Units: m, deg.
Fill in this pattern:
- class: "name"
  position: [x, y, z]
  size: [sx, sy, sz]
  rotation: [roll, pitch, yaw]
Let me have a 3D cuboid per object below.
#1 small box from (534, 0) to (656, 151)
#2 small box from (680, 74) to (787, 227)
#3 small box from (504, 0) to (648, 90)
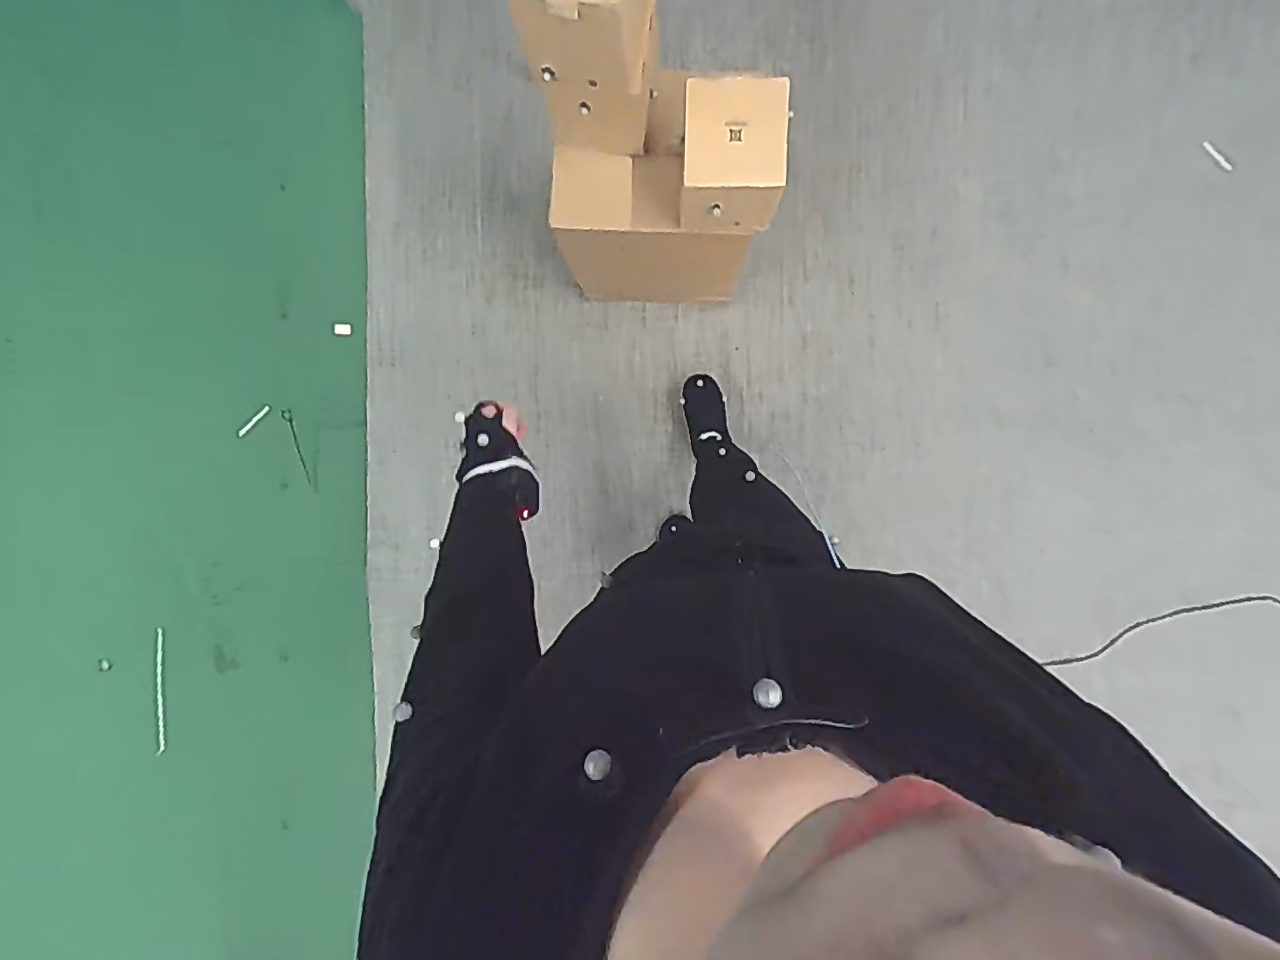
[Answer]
- class: "small box"
  position: [-0.071, -0.717, 0.957]
  size: [0.179, 0.176, 0.168]
  rotation: [10, 91, 3]
- class: "small box"
  position: [0.155, -0.561, 0.943]
  size: [0.168, 0.176, 0.179]
  rotation: [2, 91, 3]
- class: "small box"
  position: [-0.084, -0.720, 0.792]
  size: [0.168, 0.176, 0.179]
  rotation: [11, 89, 4]
